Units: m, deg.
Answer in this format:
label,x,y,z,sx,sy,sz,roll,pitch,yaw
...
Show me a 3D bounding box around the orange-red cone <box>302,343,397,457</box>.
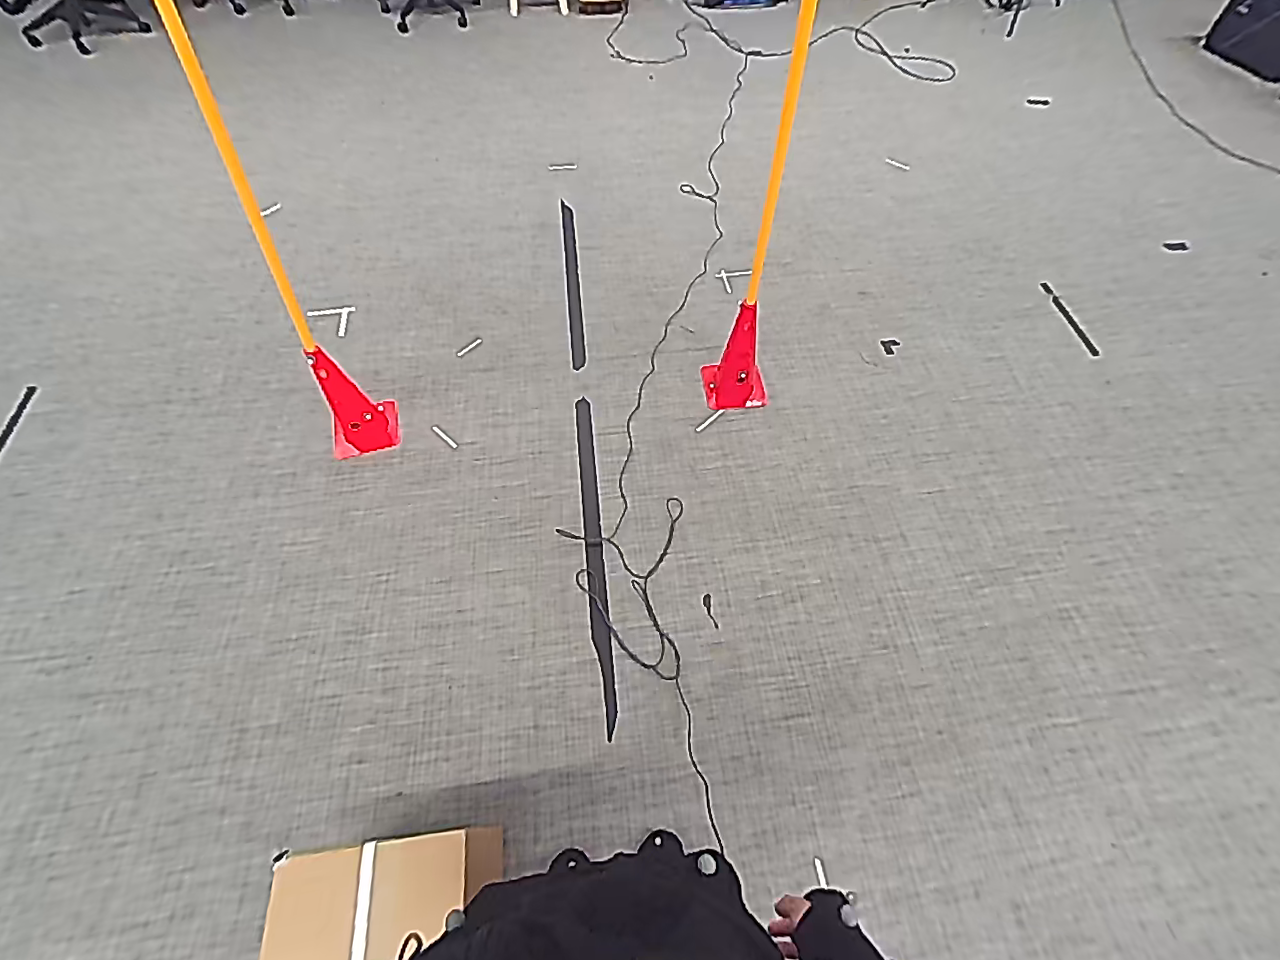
label,x,y,z,sx,sy,sz,roll,pitch,yaw
orange-red cone,-0.880,-0.257,1.584,0.199,0.360,0.198,-14,58,-8
